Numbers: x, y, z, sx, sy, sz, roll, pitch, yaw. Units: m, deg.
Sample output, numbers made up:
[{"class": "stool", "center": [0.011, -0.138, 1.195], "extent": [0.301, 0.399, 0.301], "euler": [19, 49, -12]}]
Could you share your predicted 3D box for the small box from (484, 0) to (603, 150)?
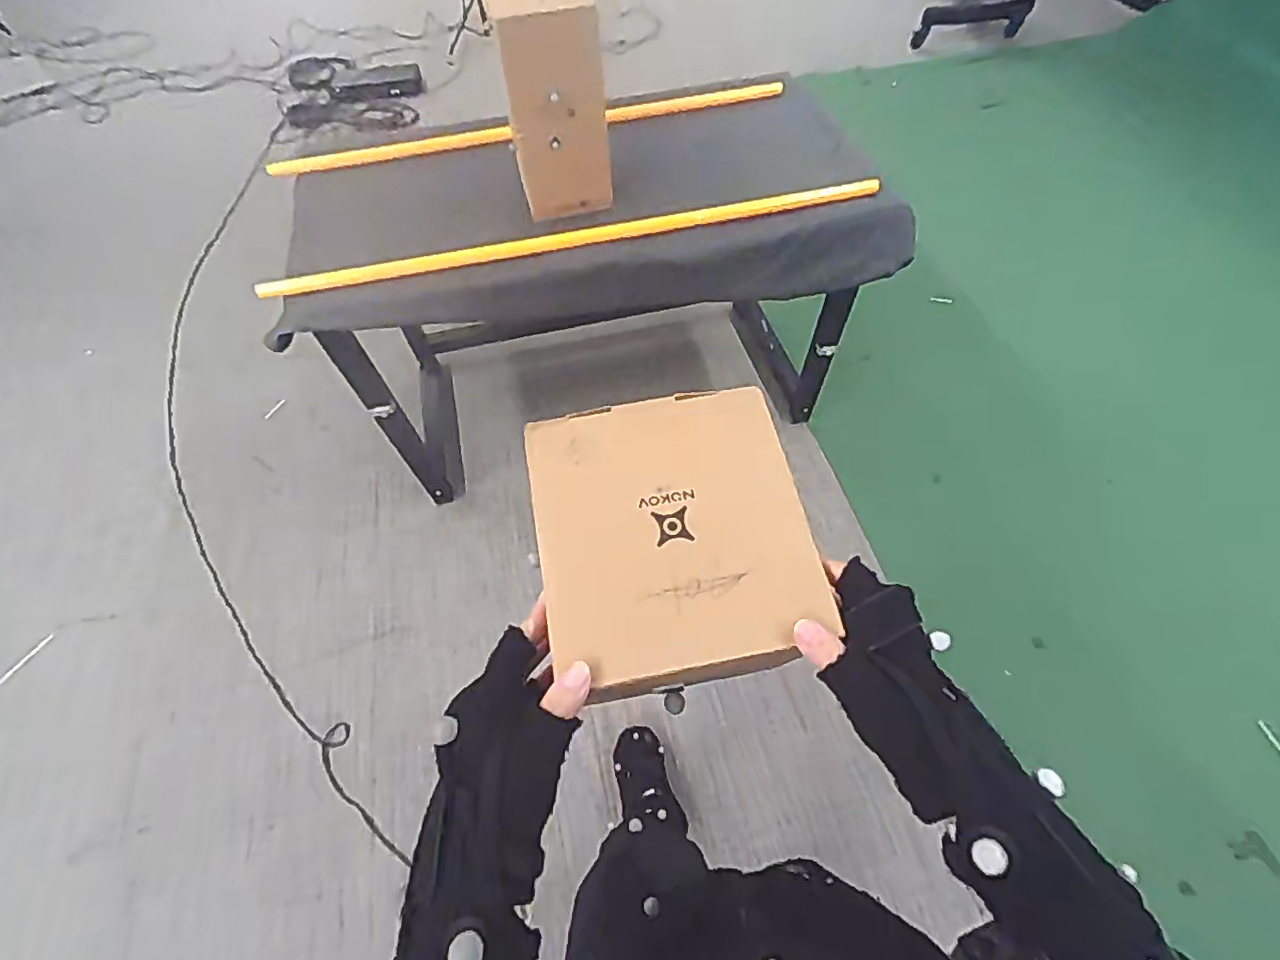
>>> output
[{"class": "small box", "center": [-0.167, -0.718, 0.956], "extent": [0.168, 0.176, 0.179], "euler": [-14, 58, -6]}]

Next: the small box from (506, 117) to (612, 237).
[{"class": "small box", "center": [-0.161, -0.625, 1.092], "extent": [0.168, 0.176, 0.179], "euler": [-16, 57, -6]}]

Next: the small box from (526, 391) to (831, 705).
[{"class": "small box", "center": [0.015, 0.060, 0.412], "extent": [0.168, 0.176, 0.179], "euler": [-10, 65, -5]}]
